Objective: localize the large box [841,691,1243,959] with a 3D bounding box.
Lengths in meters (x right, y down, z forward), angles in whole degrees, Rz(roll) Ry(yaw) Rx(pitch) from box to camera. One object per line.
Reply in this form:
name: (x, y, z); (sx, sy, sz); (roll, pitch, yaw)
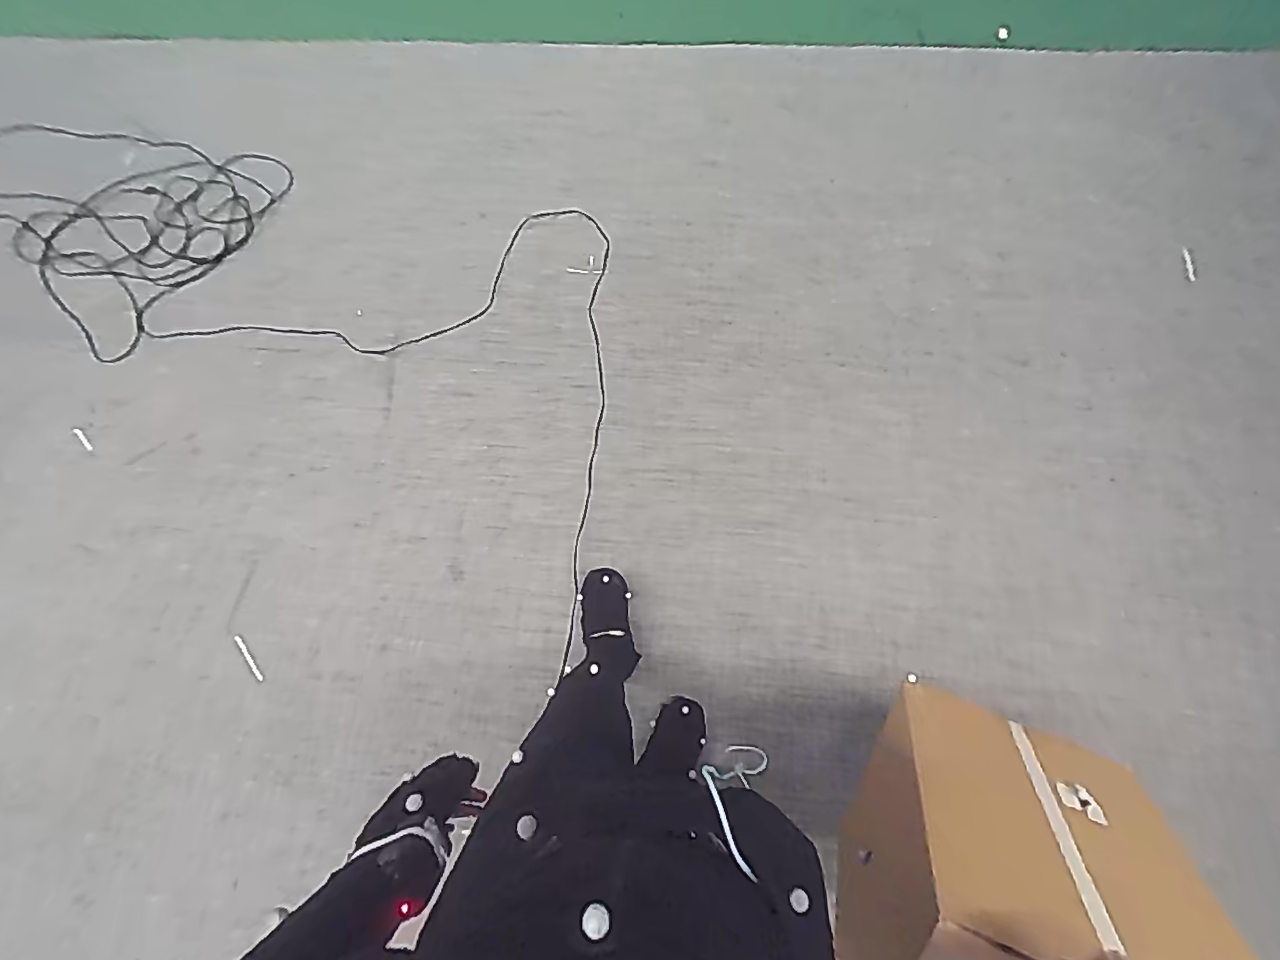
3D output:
large box: (0.454, 0.561, 0.683); (0.320, 0.408, 0.320); (20, 107, 16)
